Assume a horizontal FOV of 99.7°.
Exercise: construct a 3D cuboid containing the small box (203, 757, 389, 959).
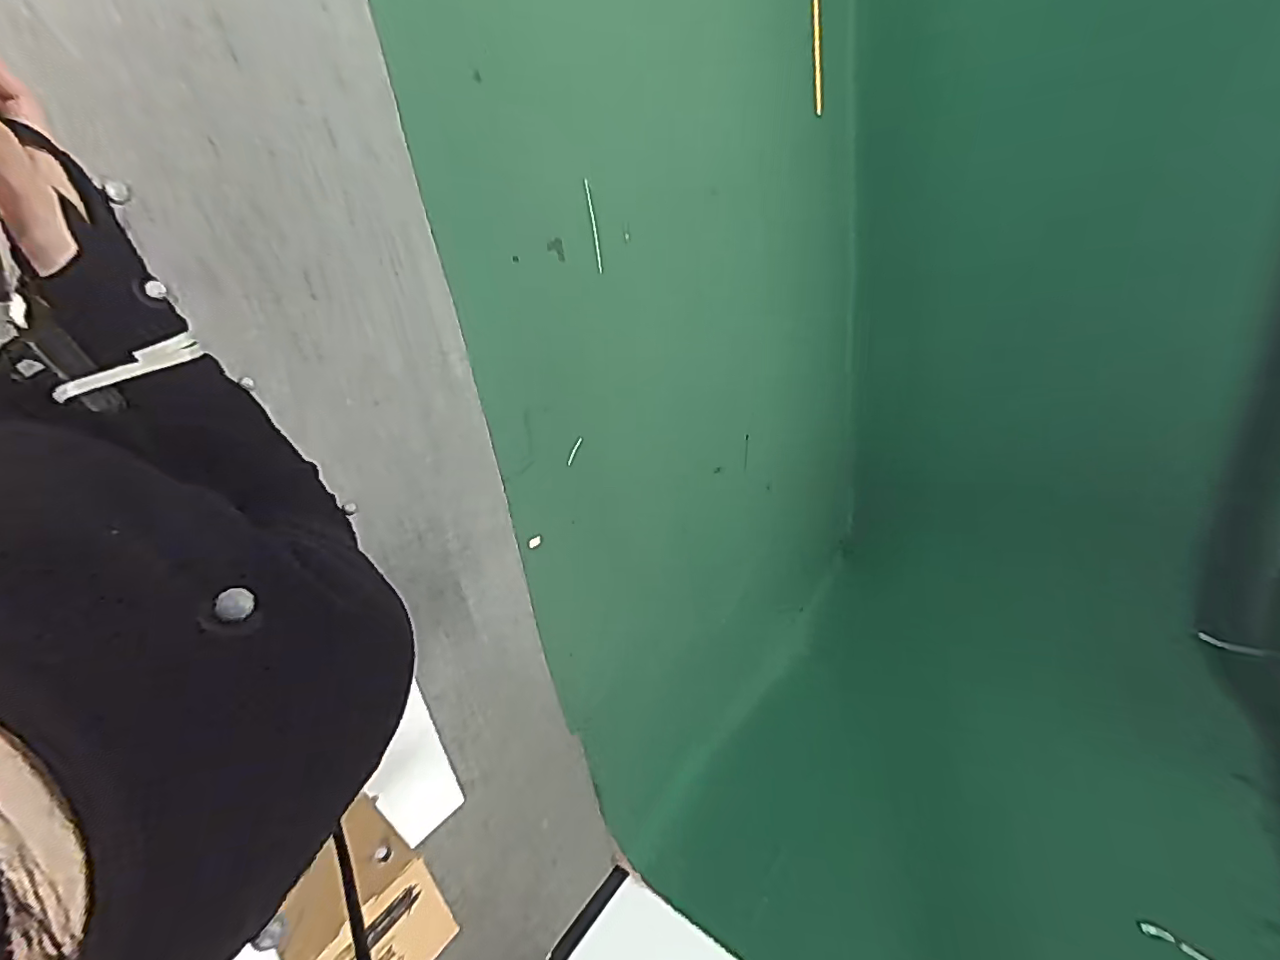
[{"bbox_3d":[-0.524,0.572,0.830,0.168,0.176,0.179,-32,123,-43],"label":"small box"}]
